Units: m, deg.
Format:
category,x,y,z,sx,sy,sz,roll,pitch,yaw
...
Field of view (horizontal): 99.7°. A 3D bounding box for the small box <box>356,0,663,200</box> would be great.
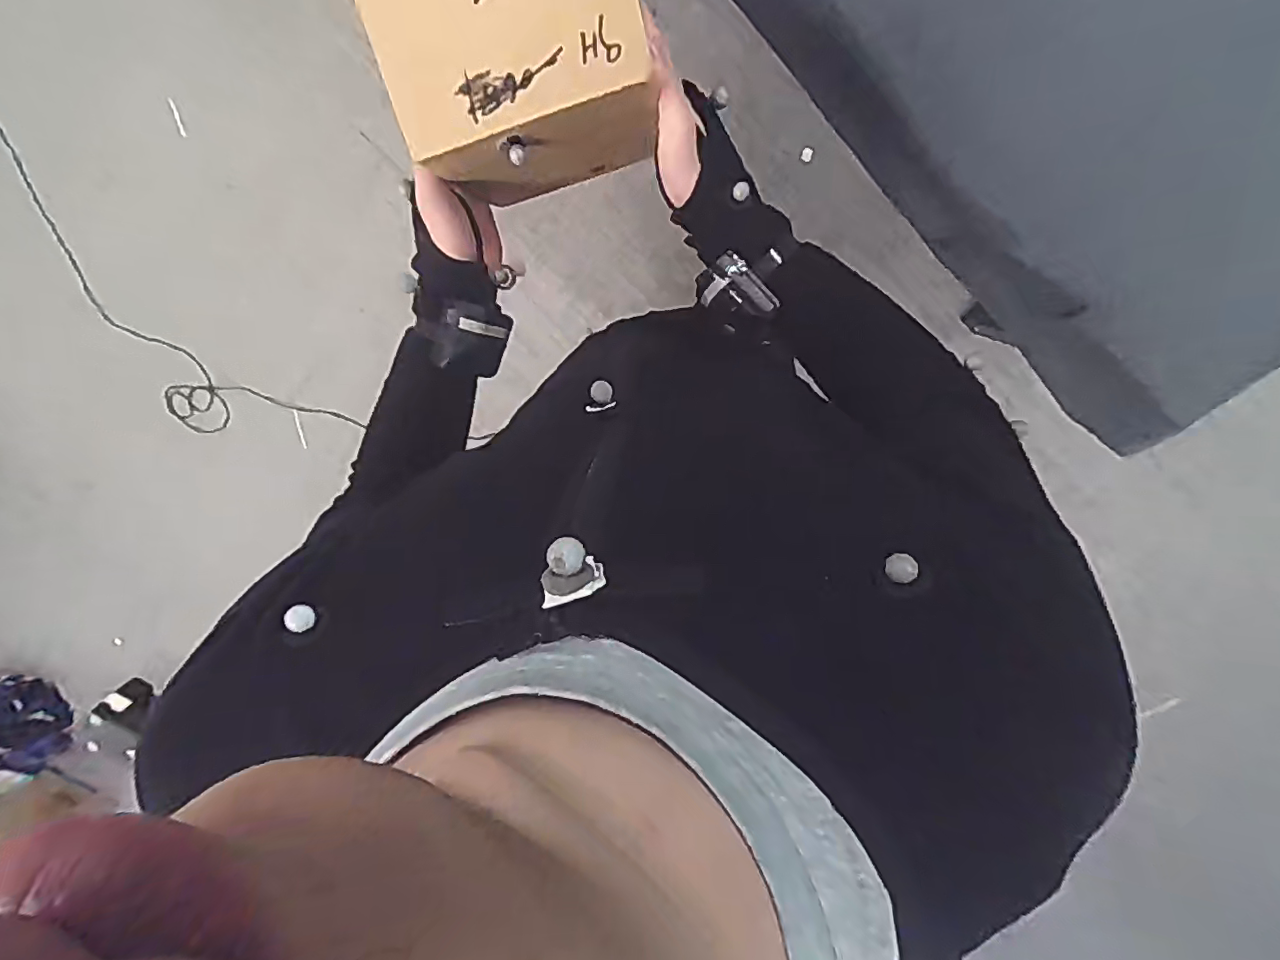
category,x,y,z,sx,sy,sz,roll,pitch,yaw
small box,-0.085,-0.330,0.387,0.168,0.176,0.179,-13,105,10
